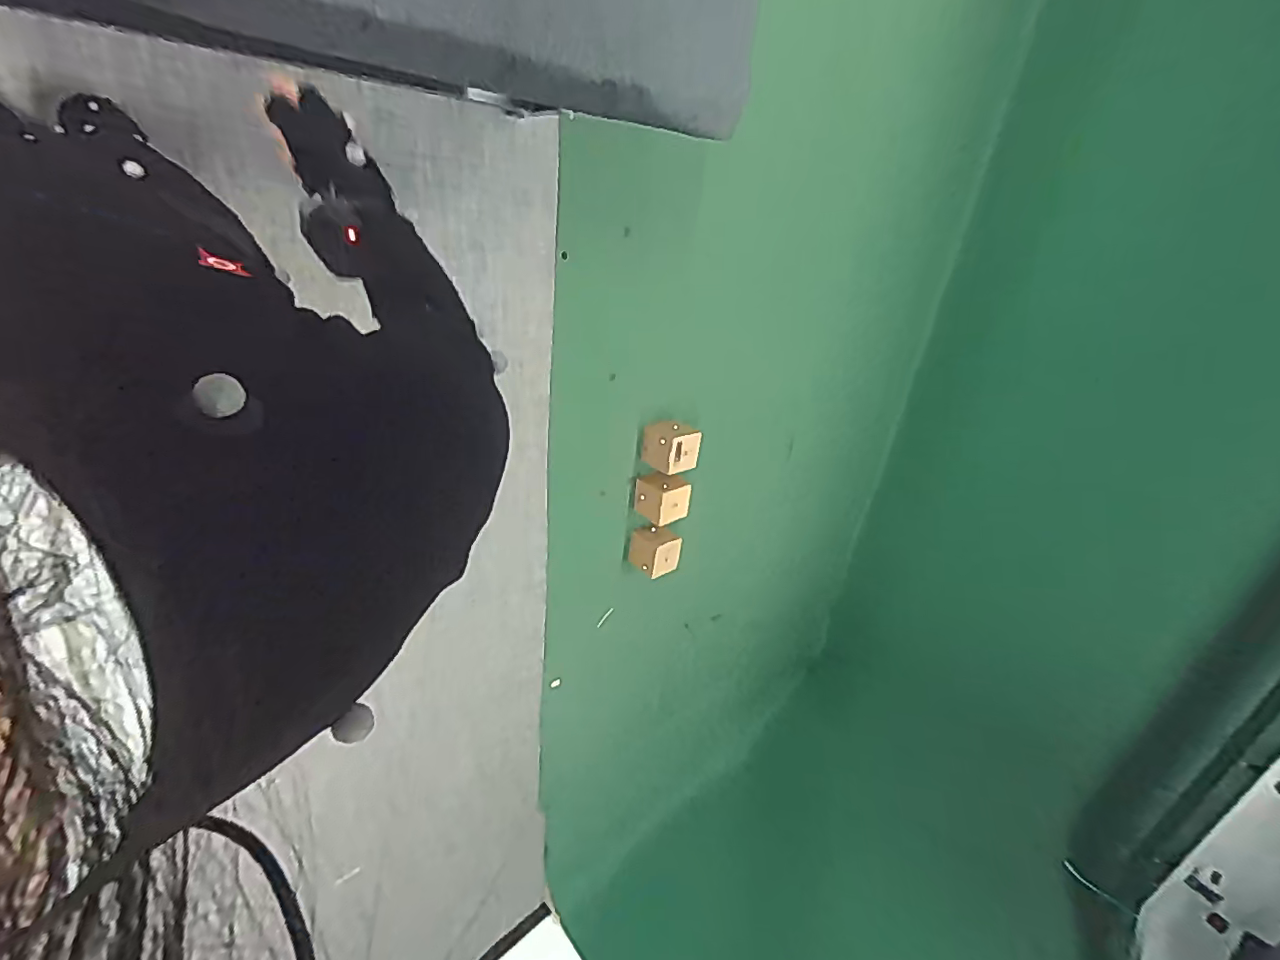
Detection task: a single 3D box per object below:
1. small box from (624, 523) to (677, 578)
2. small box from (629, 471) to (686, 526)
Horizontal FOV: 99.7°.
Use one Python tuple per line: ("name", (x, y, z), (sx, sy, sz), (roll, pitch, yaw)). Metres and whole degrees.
("small box", (0.043, 0.321, 2.507), (0.168, 0.176, 0.179), (-16, 124, -41))
("small box", (0.075, 0.073, 2.392), (0.179, 0.176, 0.168), (-18, 125, -39))
